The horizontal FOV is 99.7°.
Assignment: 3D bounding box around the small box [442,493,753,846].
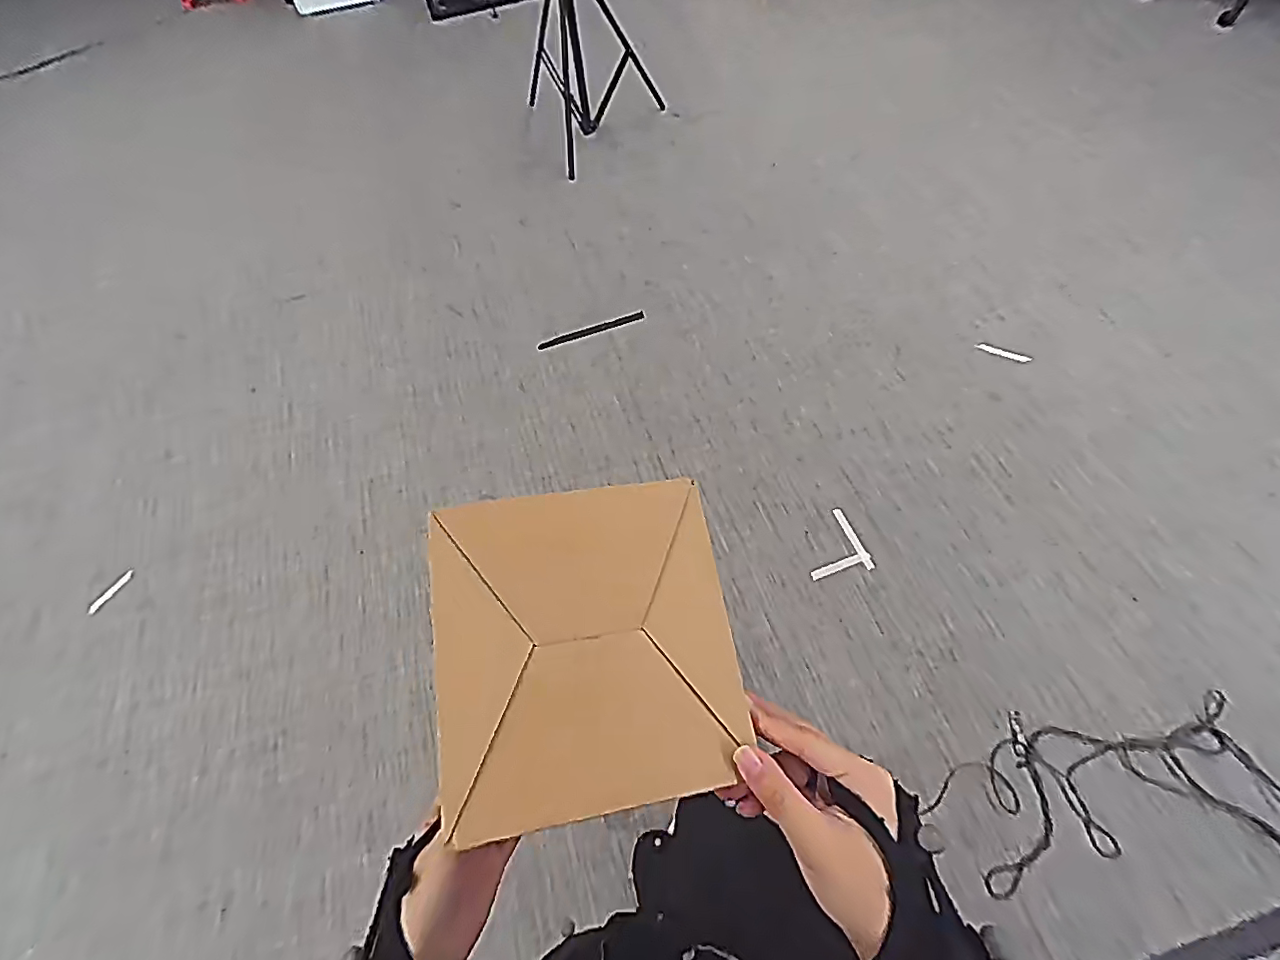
[{"bbox_3d":[-0.037,0.121,0.379,0.168,0.176,0.179,-6,68,-12],"label":"small box"}]
